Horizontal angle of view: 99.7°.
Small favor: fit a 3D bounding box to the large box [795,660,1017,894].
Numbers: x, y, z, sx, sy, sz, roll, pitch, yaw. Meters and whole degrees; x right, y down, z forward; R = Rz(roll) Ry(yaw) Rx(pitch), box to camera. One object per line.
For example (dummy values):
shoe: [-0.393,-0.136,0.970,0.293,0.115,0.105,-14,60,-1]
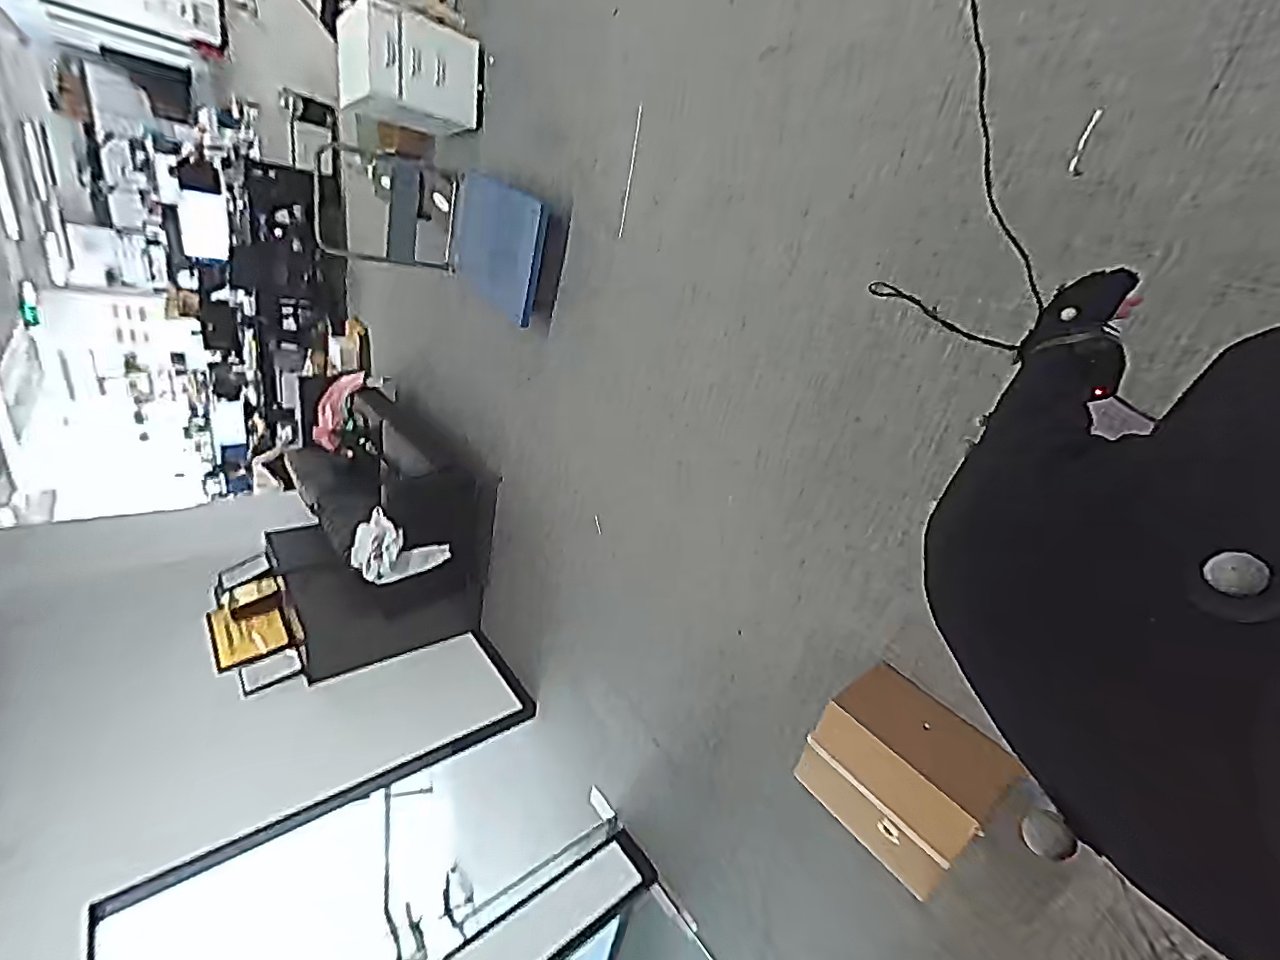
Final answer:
large box: [0.716,0.779,1.487,0.408,0.320,0.320,35,122,38]
